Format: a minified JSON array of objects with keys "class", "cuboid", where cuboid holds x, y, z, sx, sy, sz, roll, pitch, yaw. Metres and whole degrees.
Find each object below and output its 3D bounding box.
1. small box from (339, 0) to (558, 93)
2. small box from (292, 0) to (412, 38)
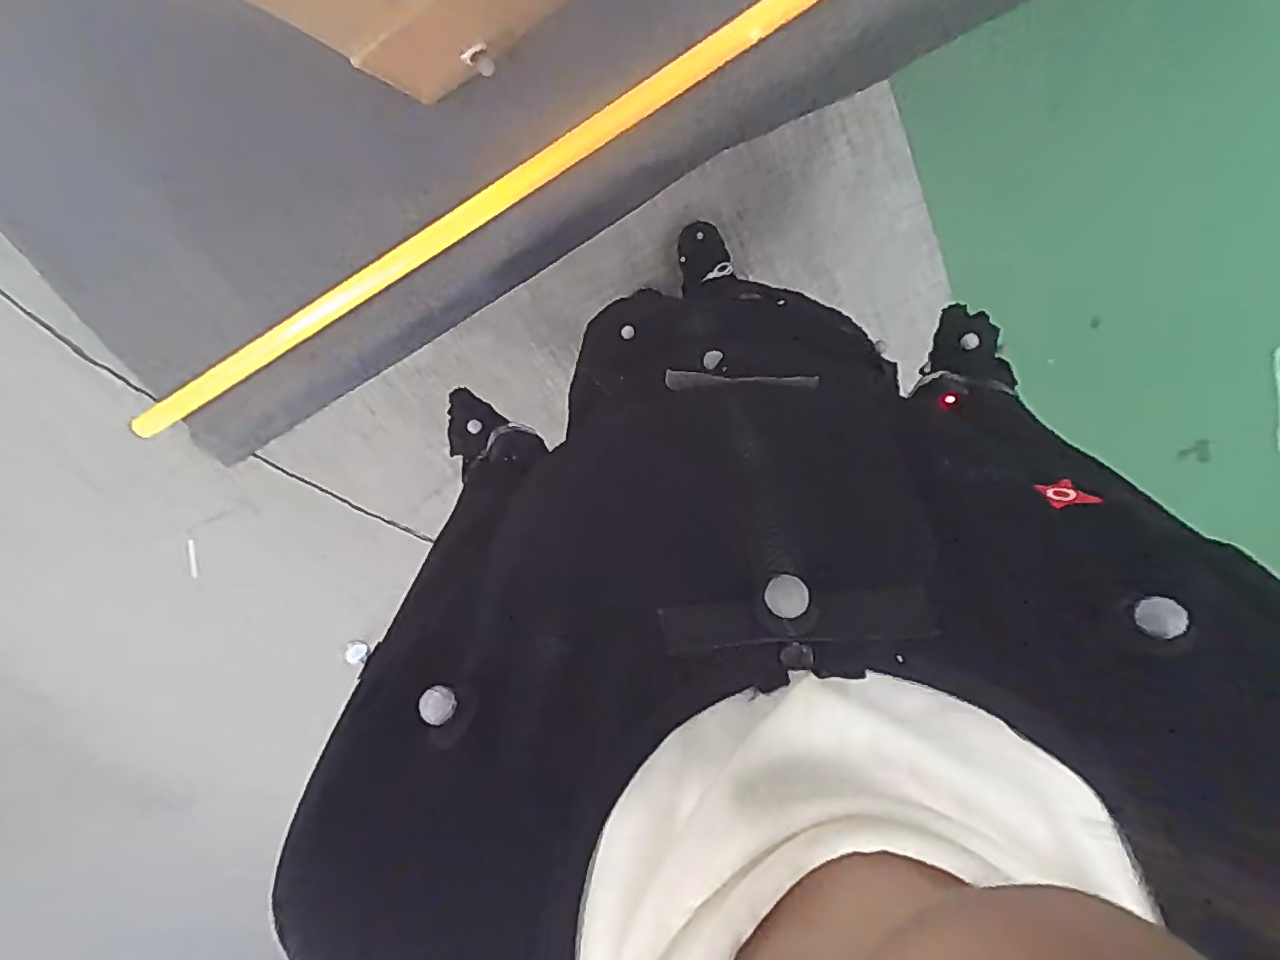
[{"class":"small box","cuboid":[-0.183,-0.454,0.427,0.168,0.176,0.179,-29,112,15]},{"class":"small box","cuboid":[-0.188,-0.387,0.277,0.168,0.176,0.179,-27,112,14]}]
